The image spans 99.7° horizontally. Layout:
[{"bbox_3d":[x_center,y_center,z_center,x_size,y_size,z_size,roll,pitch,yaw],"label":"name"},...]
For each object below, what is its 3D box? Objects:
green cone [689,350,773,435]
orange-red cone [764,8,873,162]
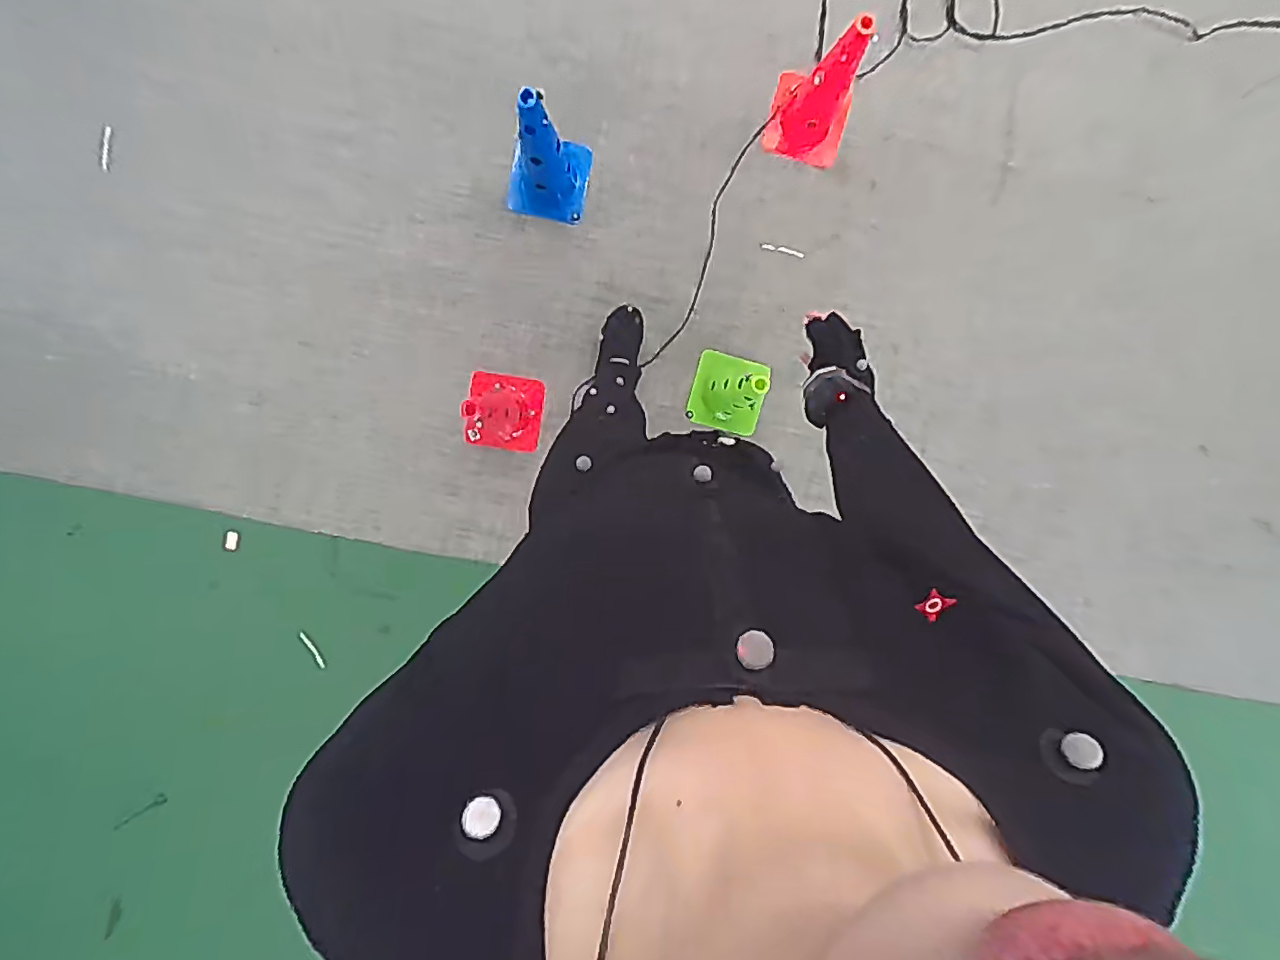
[{"bbox_3d":[0.254,-0.222,1.302,0.200,0.368,0.202,13,95,-4],"label":"green cone"},{"bbox_3d":[0.439,-0.927,1.236,0.198,0.360,0.199,16,97,-2],"label":"orange-red cone"}]
